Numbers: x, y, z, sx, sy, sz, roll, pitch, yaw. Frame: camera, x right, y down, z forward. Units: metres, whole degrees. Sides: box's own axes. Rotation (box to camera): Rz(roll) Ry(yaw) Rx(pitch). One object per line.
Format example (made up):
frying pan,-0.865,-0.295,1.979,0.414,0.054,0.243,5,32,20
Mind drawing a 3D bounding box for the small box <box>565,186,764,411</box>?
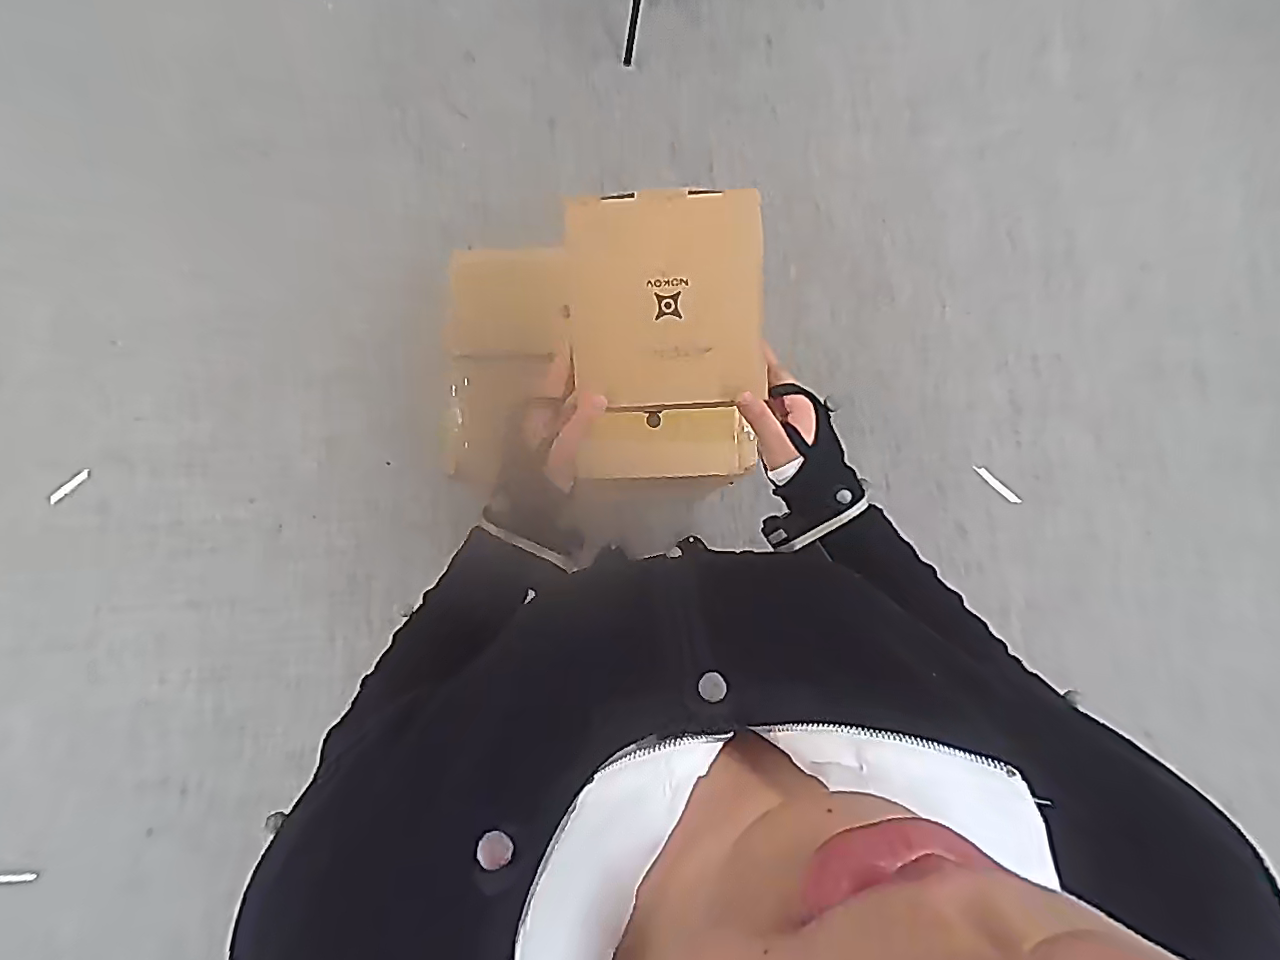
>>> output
small box,0.020,-0.162,0.535,0.168,0.176,0.179,-3,96,0
